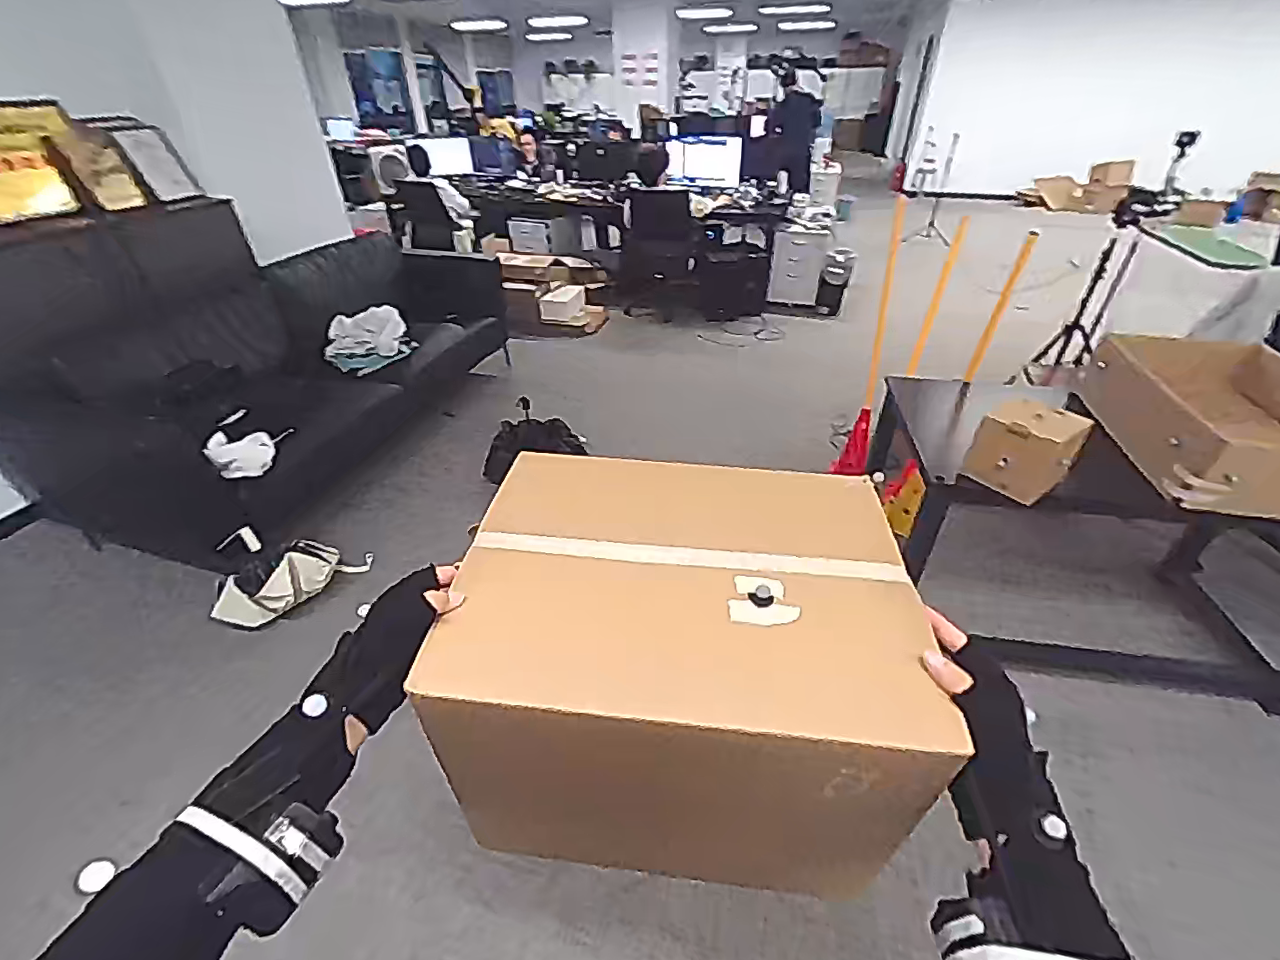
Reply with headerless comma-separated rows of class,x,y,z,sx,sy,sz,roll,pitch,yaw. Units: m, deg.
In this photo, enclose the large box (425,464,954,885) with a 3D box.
large box,0.039,0.203,0.605,0.408,0.320,0.320,5,38,4
